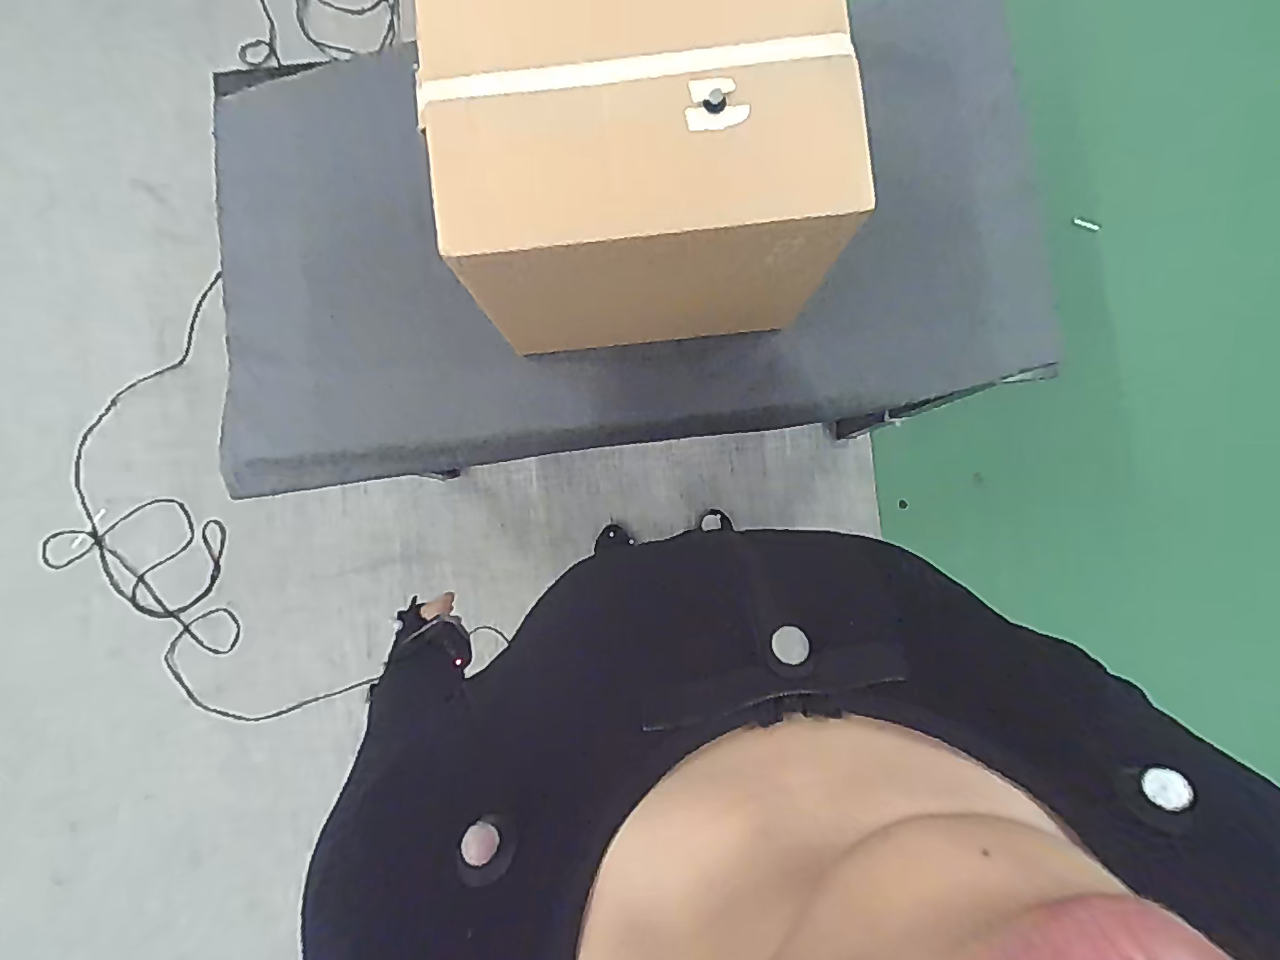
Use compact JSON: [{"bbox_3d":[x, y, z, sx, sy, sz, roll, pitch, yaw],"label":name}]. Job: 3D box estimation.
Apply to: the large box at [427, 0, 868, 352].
[{"bbox_3d":[0.001,-0.374,0.669,0.408,0.320,0.320,-7,87,0],"label":"large box"}]
